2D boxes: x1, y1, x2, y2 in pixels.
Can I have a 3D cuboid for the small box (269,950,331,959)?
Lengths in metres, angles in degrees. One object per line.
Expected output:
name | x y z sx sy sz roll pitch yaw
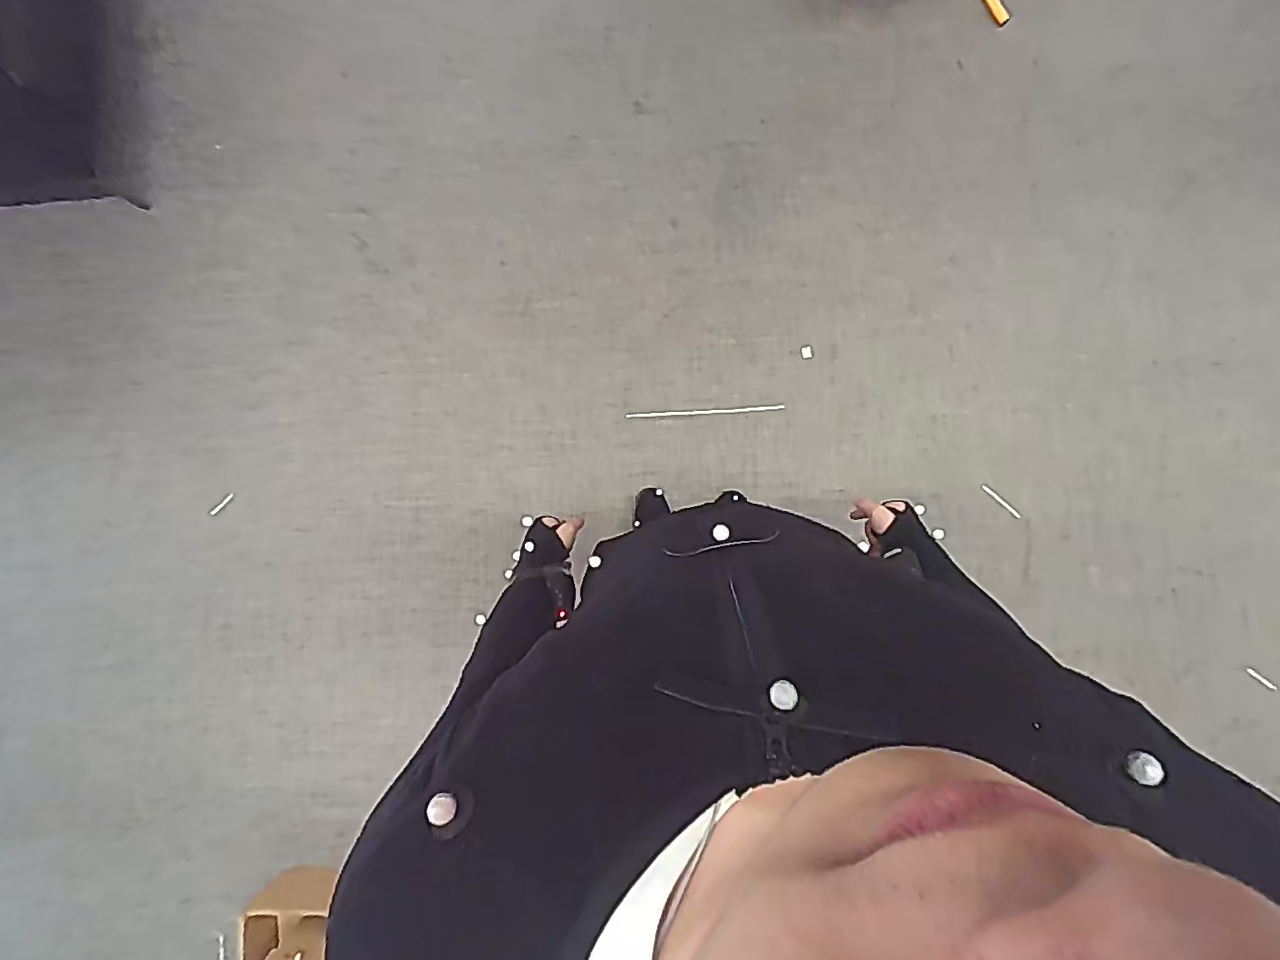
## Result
small box | -0.913 1.361 1.383 0.168 0.176 0.179 -3 89 2
